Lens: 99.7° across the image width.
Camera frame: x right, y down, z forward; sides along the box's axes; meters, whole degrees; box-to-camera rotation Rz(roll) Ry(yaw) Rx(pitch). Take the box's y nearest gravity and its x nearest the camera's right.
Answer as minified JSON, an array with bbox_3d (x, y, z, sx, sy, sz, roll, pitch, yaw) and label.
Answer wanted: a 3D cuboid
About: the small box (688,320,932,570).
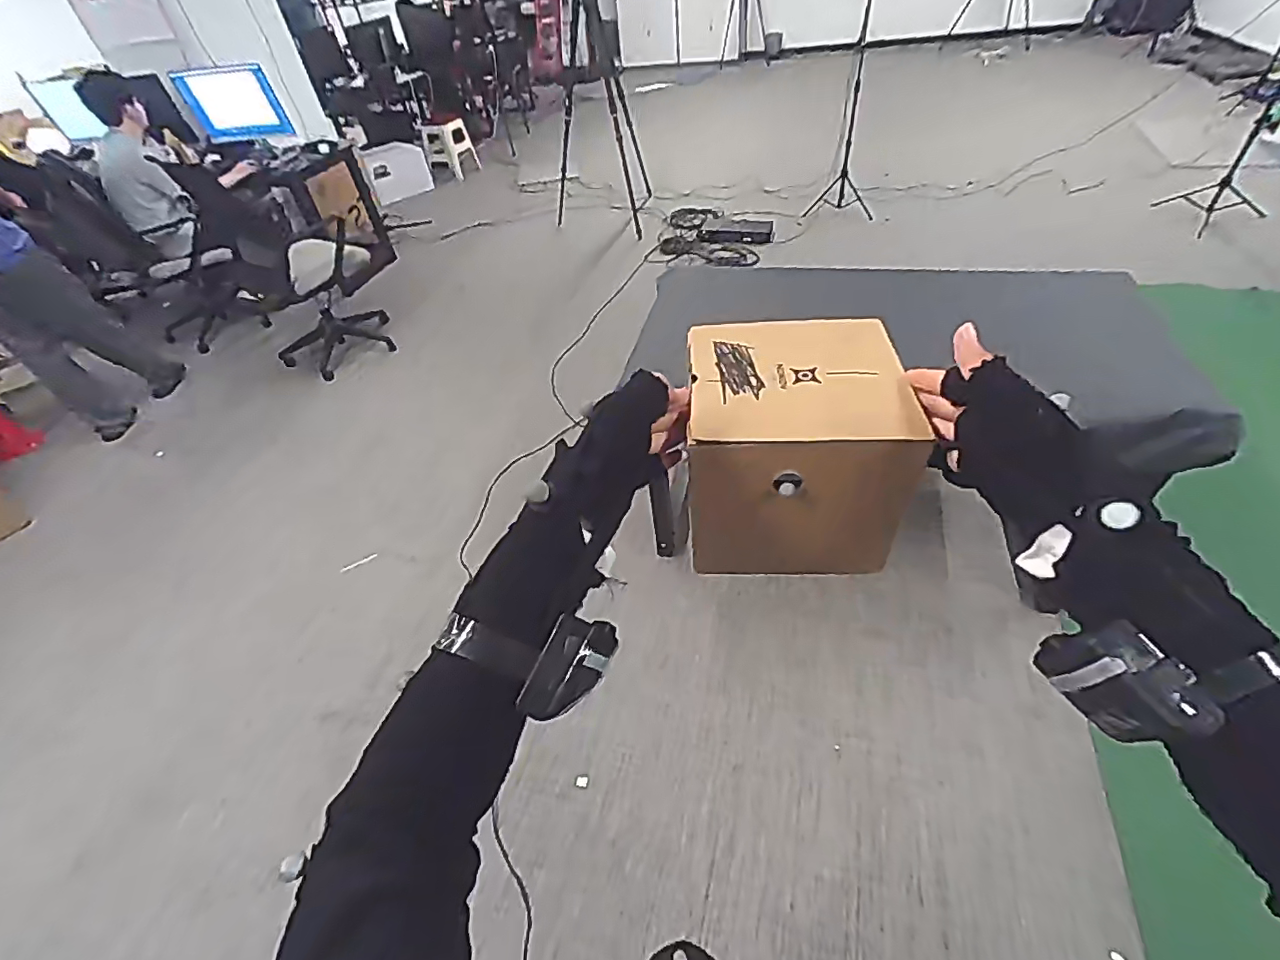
[{"bbox_3d":[0.136,-0.030,0.503,0.179,0.176,0.168,0,46,6],"label":"small box"}]
